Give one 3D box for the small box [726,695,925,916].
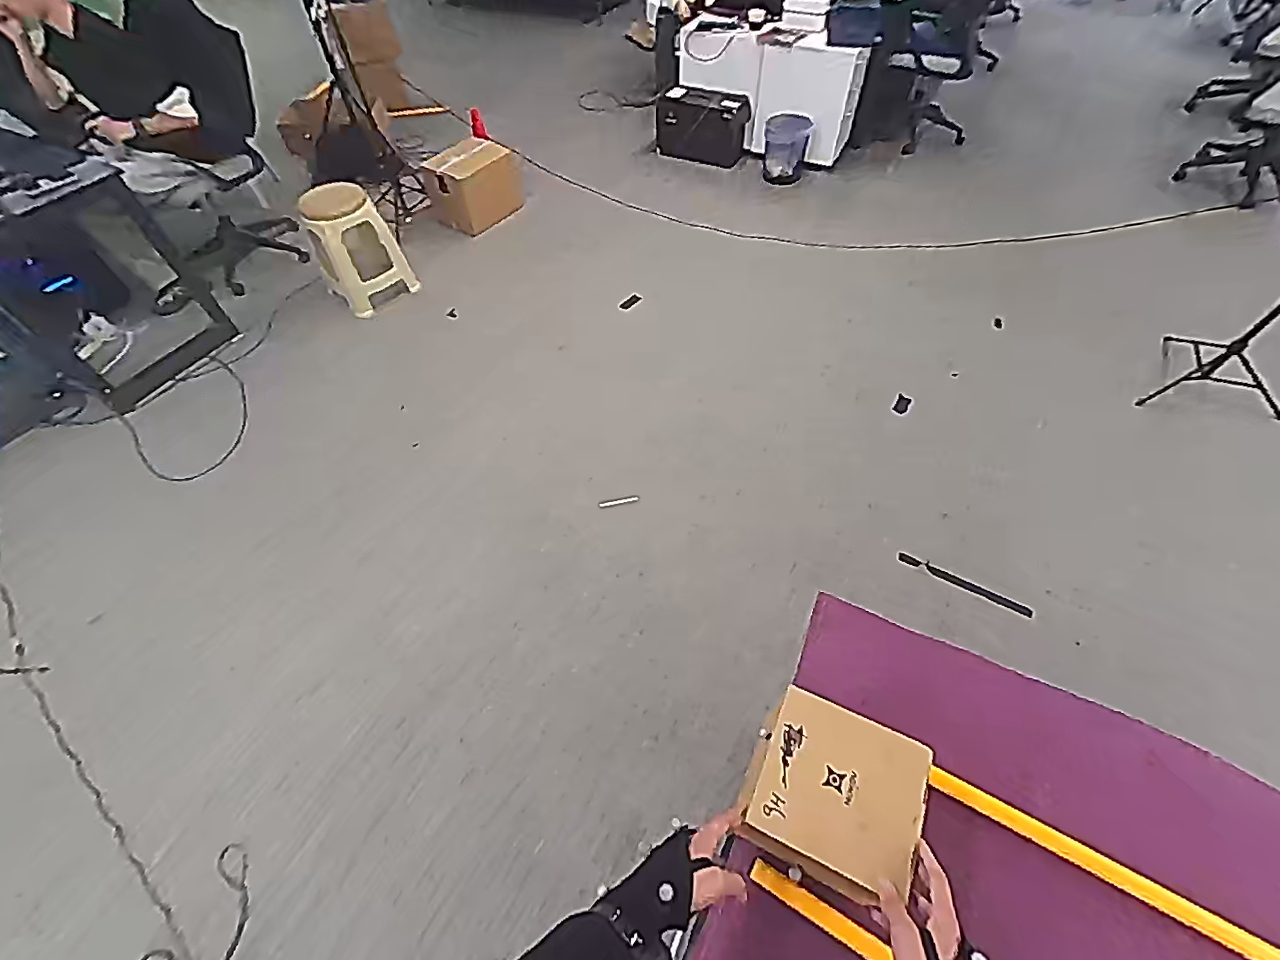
[{"bbox_3d":[0.225,0.404,0.686,0.179,0.176,0.168,22,58,16],"label":"small box"}]
